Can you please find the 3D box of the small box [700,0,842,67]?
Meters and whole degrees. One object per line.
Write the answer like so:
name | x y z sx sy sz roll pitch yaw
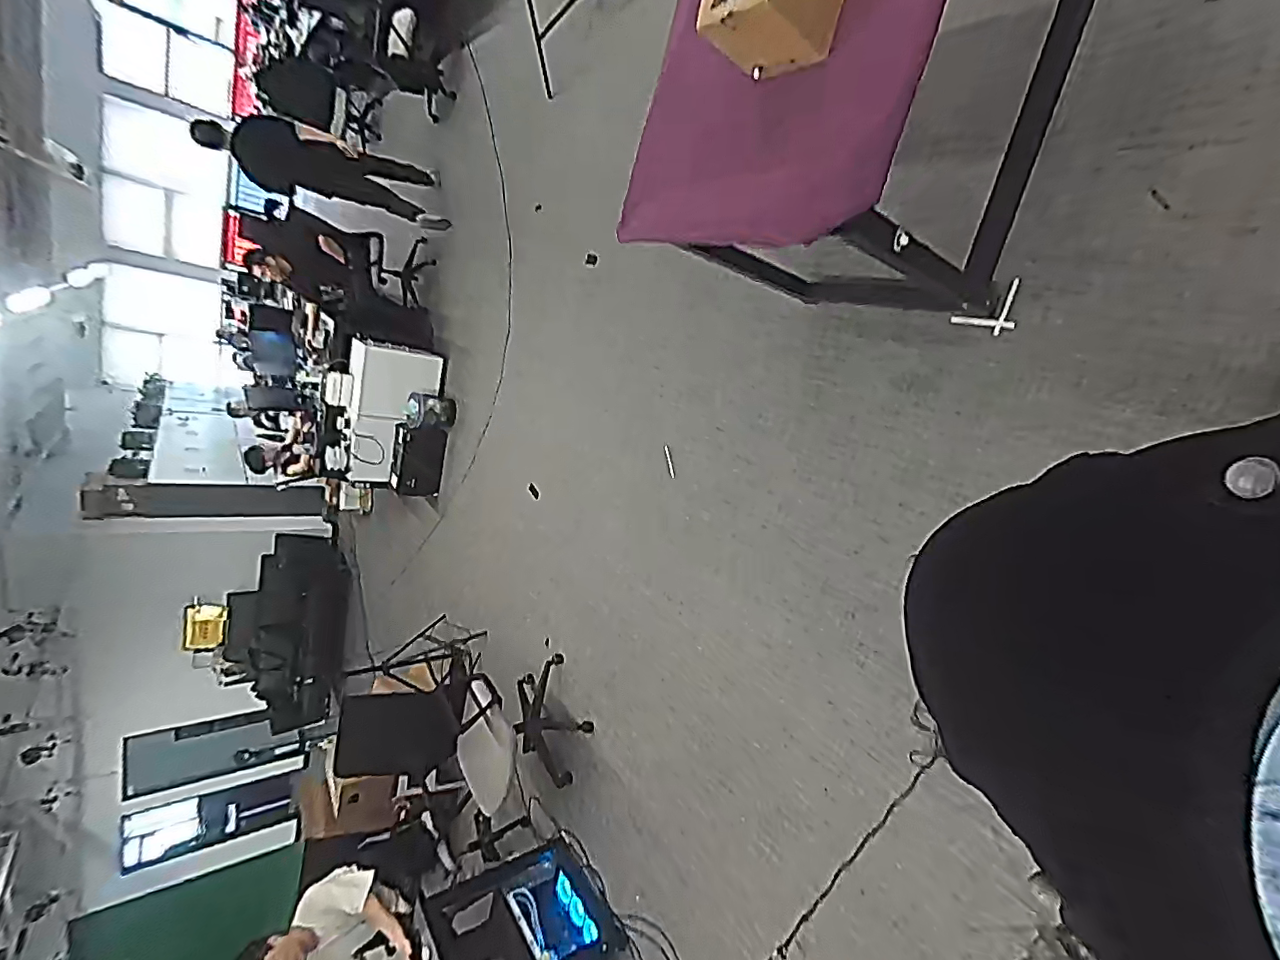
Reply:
small box | 0.232 -0.827 0.899 0.168 0.176 0.179 30 110 46
